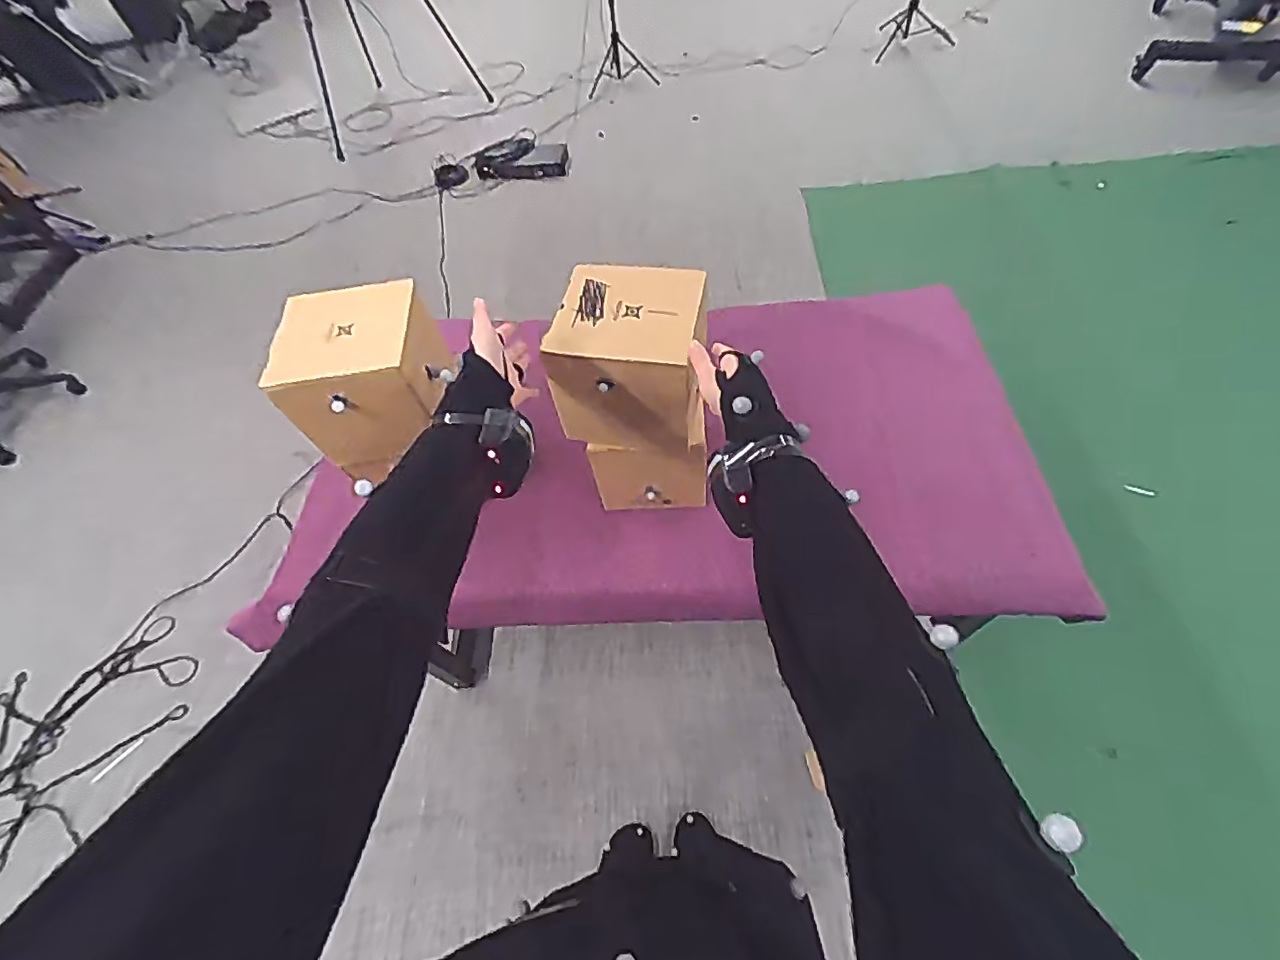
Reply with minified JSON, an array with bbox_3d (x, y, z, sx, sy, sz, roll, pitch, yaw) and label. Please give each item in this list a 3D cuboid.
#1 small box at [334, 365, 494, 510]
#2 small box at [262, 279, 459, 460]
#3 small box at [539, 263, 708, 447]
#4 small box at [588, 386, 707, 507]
[{"bbox_3d":[-0.356,-0.063,0.889,0.179,0.176,0.168,-7,57,2],"label":"small box"},{"bbox_3d":[-0.367,-0.147,0.751,0.179,0.176,0.168,-9,58,1],"label":"small box"},{"bbox_3d":[-0.009,-0.160,0.712,0.179,0.176,0.168,8,59,11],"label":"small box"},{"bbox_3d":[0.019,-0.074,0.851,0.168,0.176,0.179,-2,57,6],"label":"small box"}]
